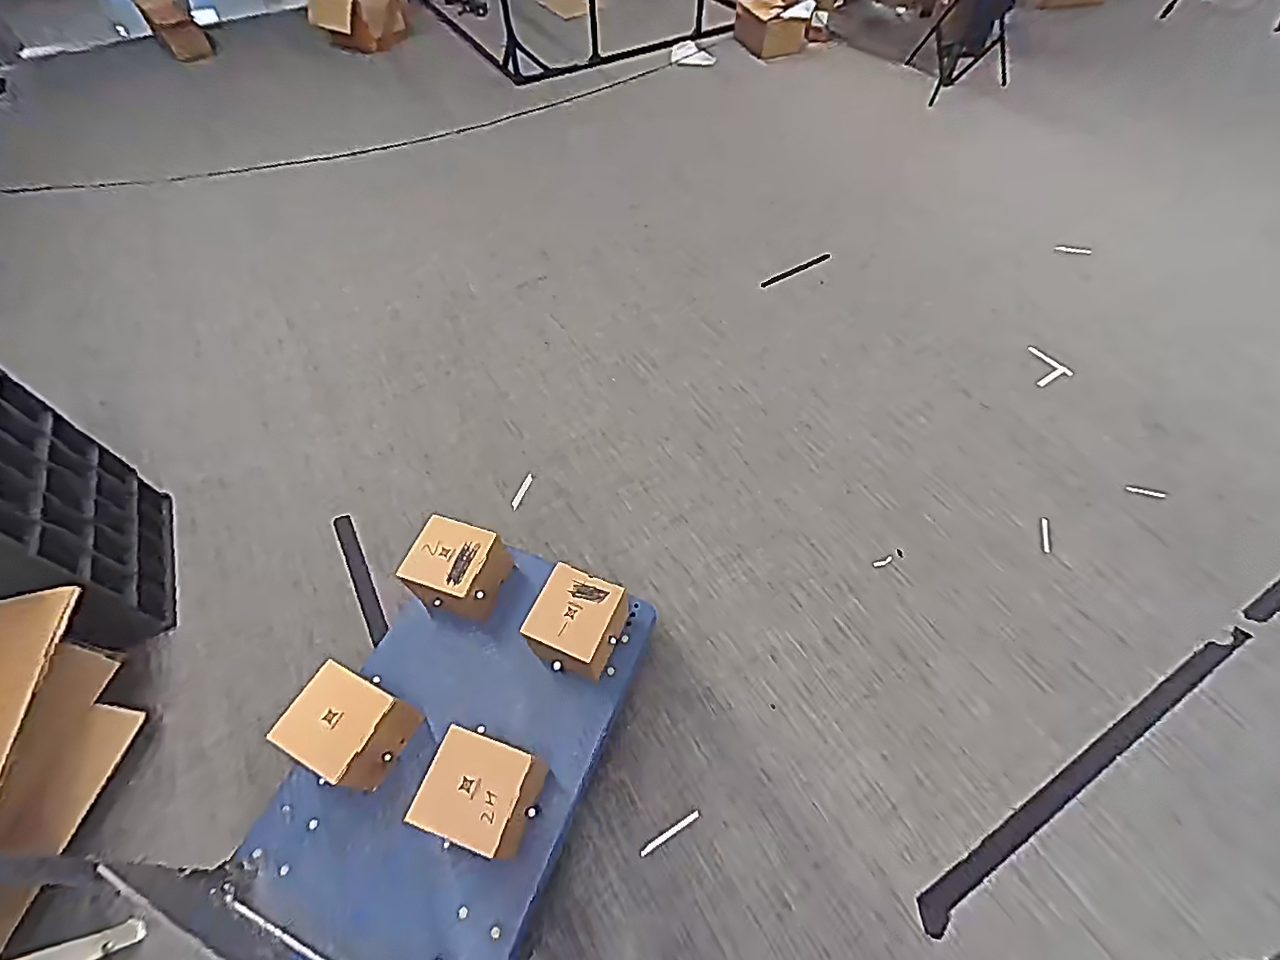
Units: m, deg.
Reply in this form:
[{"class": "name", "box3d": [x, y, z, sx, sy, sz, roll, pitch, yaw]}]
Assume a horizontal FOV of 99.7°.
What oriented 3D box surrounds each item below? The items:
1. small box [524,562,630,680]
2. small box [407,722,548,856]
[{"class": "small box", "box3d": [-0.131, 0.316, 1.201, 0.168, 0.176, 0.179, 20, 60, 14]}, {"class": "small box", "box3d": [-0.294, 0.586, 1.022, 0.179, 0.176, 0.168, 16, 58, 12]}]
